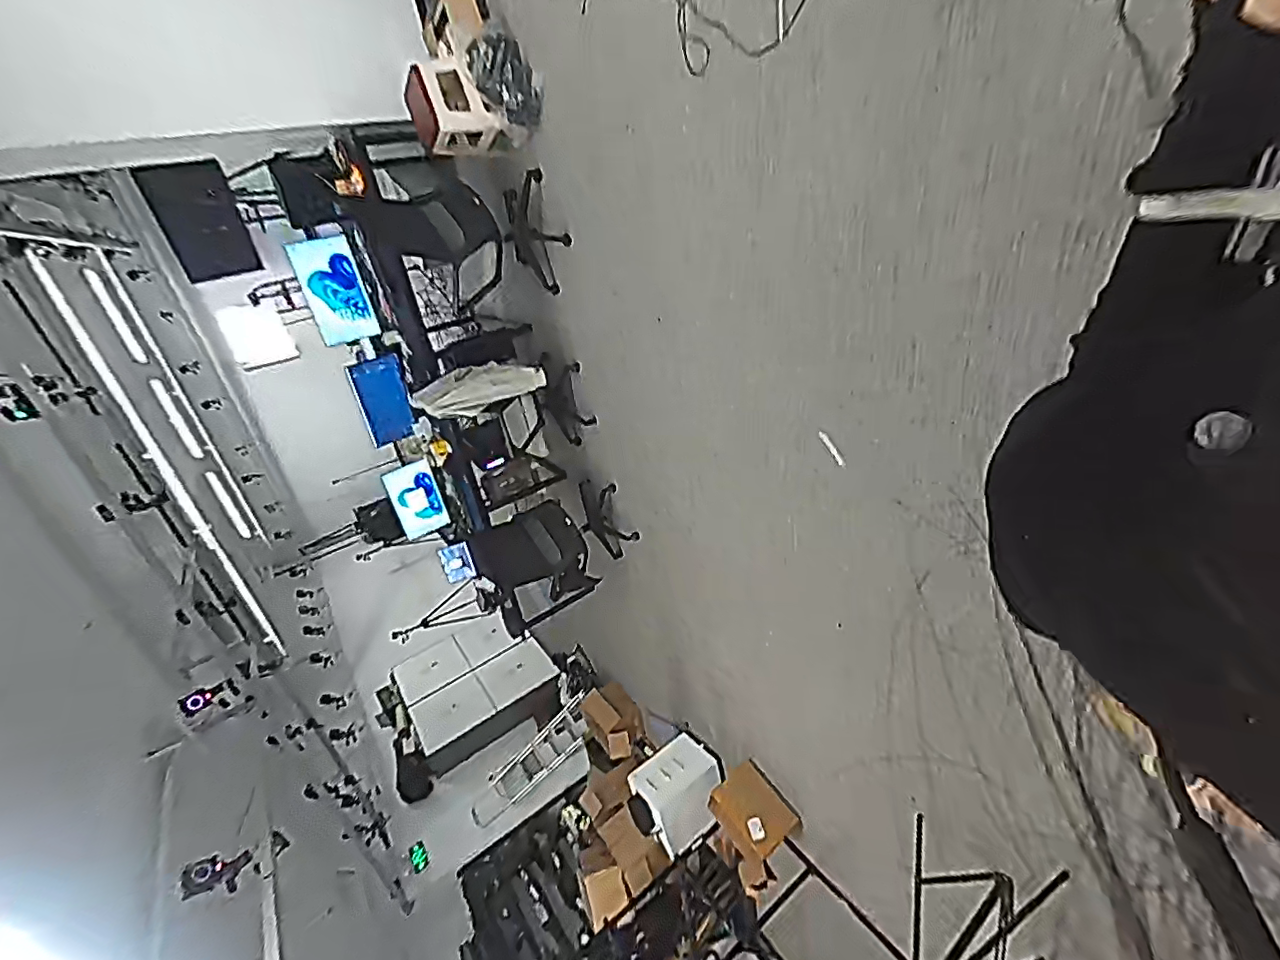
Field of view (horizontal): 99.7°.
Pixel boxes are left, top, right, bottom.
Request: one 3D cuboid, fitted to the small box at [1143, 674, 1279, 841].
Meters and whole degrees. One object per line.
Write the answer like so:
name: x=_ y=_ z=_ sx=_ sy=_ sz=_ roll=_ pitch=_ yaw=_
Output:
small box: x=1.079 y=0.492 z=0.982 sx=0.168 sy=0.176 sz=0.179 roll=35 pitch=141 yaw=44
